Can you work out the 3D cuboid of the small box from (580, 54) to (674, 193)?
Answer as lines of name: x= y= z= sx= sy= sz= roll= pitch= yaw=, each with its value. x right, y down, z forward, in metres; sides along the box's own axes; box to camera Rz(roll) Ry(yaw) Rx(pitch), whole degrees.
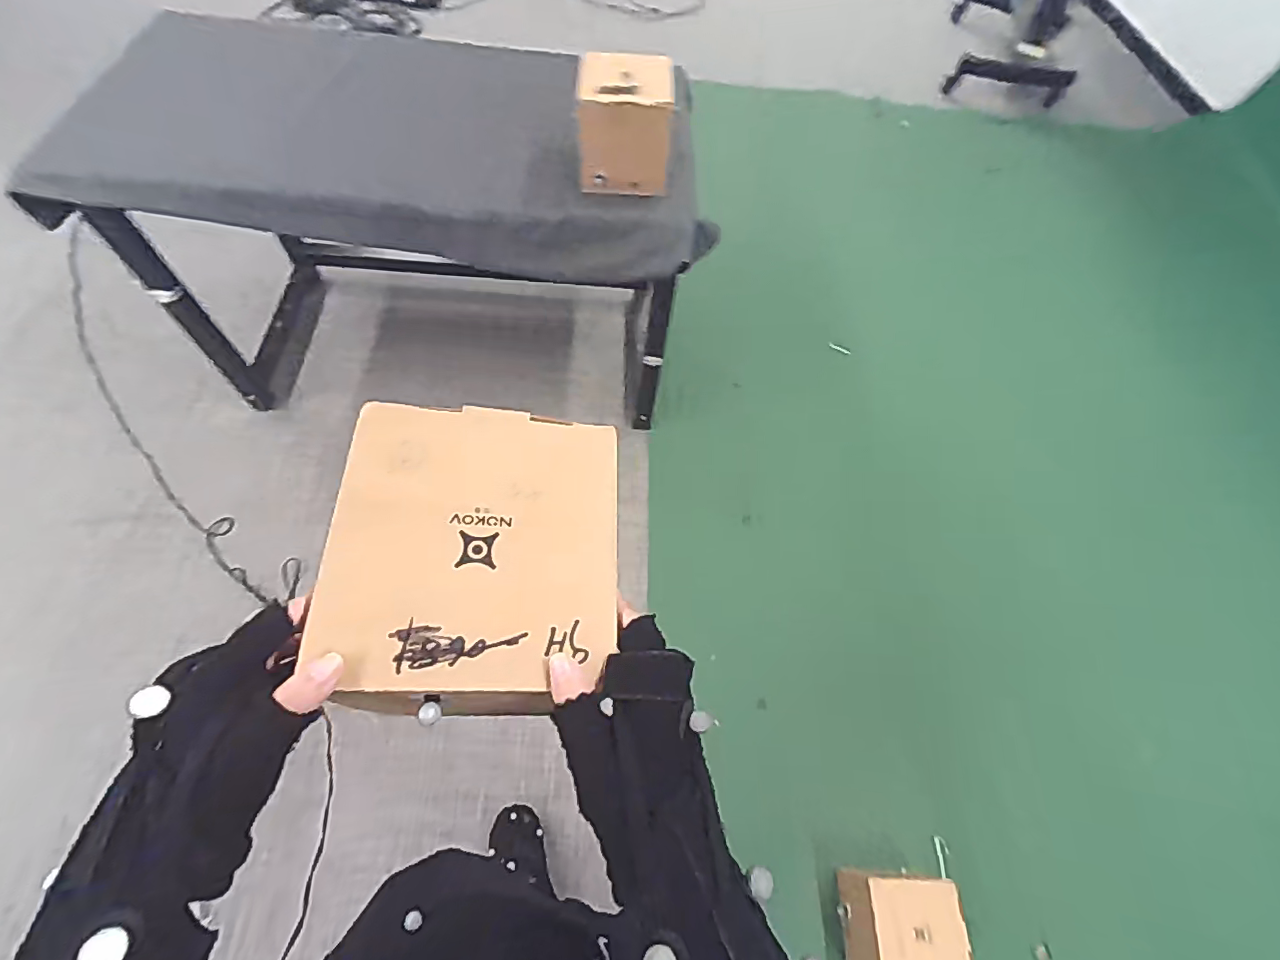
small box: x=-0.022 y=-0.678 z=1.038 sx=0.168 sy=0.176 sz=0.179 roll=2 pitch=60 yaw=-2

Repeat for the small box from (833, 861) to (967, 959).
small box: x=0.509 y=0.871 z=1.078 sx=0.179 sy=0.176 sz=0.168 roll=4 pitch=60 yaw=-3

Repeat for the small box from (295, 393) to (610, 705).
small box: x=-0.117 y=0.063 z=0.398 sx=0.168 sy=0.176 sz=0.179 roll=4 pitch=62 yaw=-11
